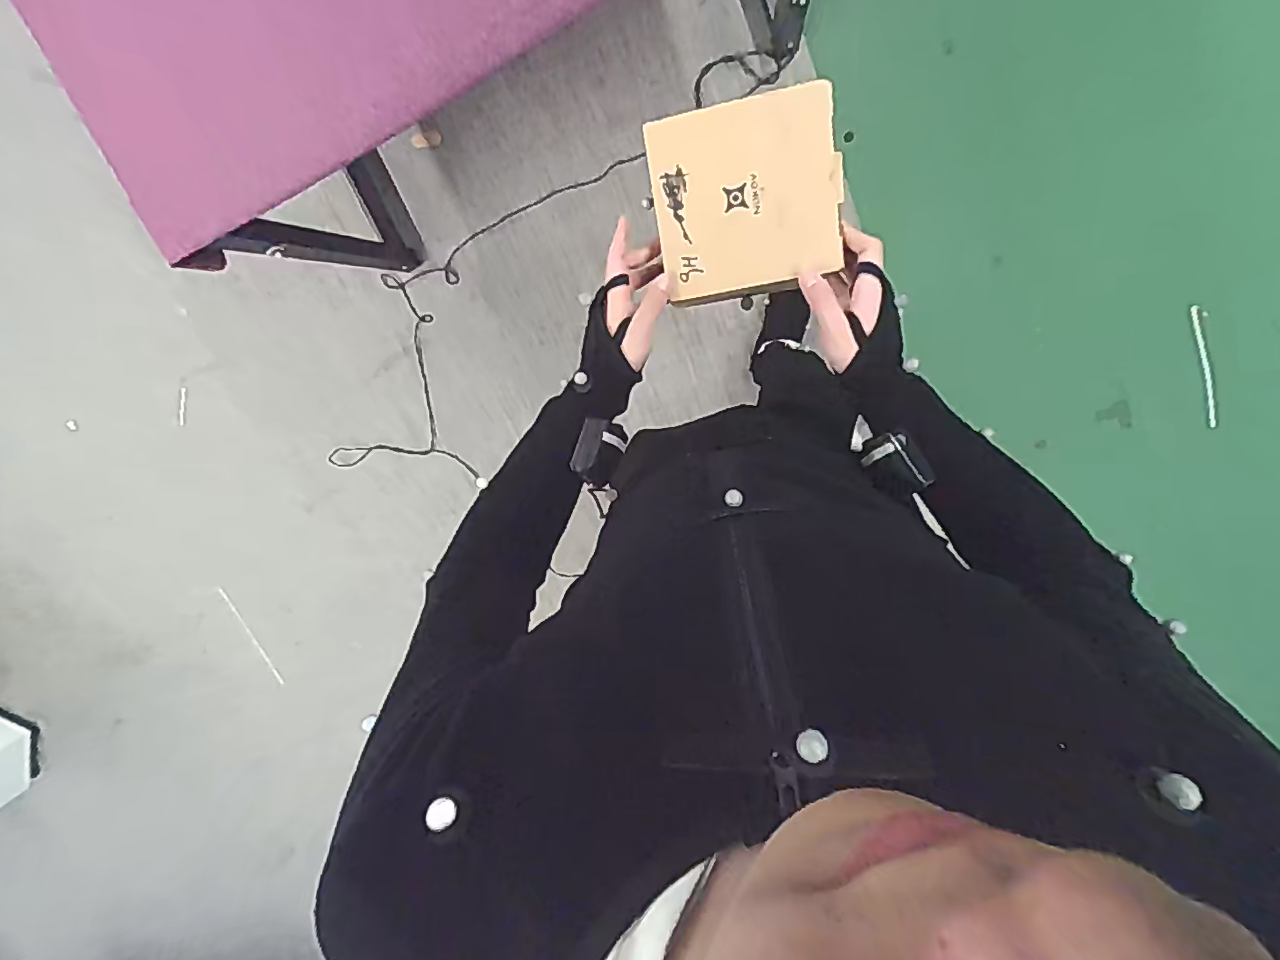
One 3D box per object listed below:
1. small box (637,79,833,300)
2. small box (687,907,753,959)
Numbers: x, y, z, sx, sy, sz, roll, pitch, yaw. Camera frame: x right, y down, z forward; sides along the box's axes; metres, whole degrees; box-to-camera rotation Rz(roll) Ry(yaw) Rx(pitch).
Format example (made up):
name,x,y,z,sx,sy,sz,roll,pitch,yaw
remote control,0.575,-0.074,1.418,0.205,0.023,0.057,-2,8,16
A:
name,x,y,z,sx,sy,sz,roll,pitch,yaw
small box,0.103,-0.300,0.600,0.179,0.176,0.168,-7,105,10
small box,0.232,1.375,1.555,0.168,0.176,0.179,-8,106,14
